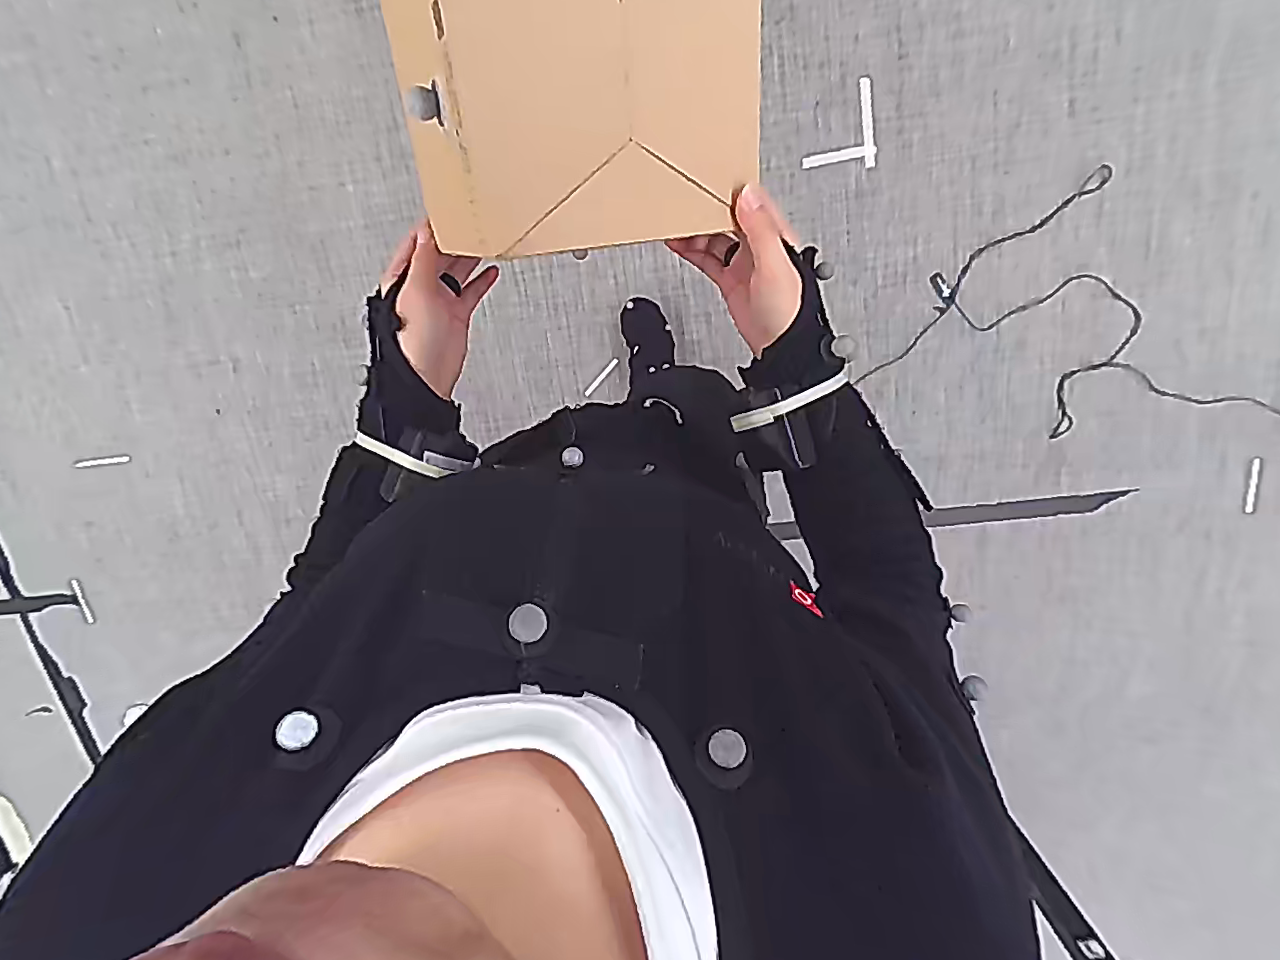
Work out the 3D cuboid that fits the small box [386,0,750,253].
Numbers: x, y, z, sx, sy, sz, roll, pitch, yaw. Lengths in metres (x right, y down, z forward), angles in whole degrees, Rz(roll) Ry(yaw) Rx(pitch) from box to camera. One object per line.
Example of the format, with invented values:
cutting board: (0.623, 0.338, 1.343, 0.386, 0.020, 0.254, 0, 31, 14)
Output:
small box: (-0.044, -0.244, 0.349, 0.179, 0.176, 0.168, -18, 118, -24)
